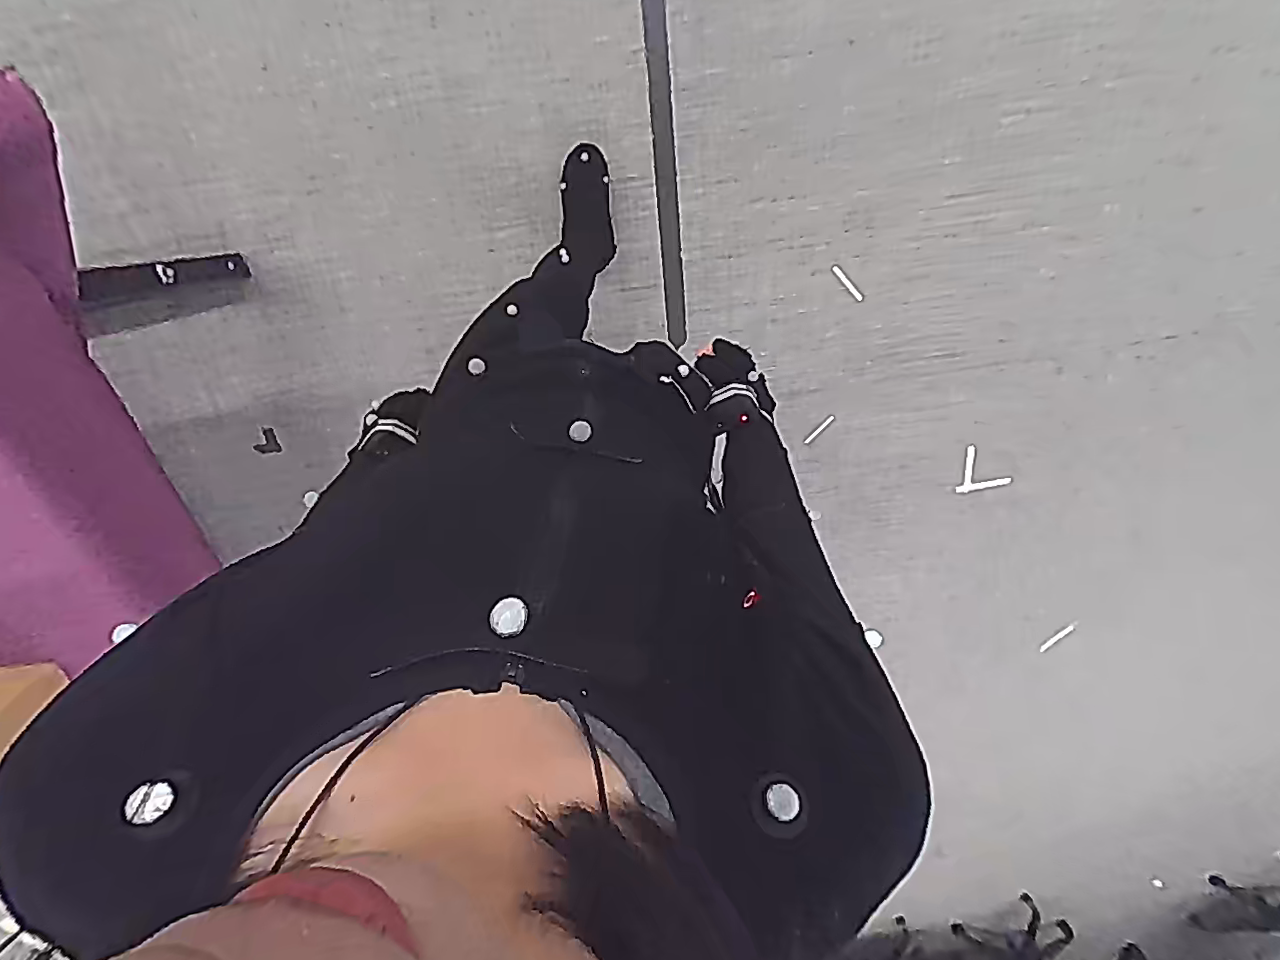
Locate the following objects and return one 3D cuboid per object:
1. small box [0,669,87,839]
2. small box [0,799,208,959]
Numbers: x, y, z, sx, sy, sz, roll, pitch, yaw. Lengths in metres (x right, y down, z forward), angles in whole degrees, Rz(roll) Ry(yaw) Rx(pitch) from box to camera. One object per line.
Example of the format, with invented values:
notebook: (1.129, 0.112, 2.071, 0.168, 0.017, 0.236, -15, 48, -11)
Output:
small box: (-0.969, 0.393, 0.776, 0.179, 0.176, 0.168, -4, 115, -2)
small box: (-0.891, 0.681, 0.918, 0.179, 0.176, 0.168, -19, 115, 3)
